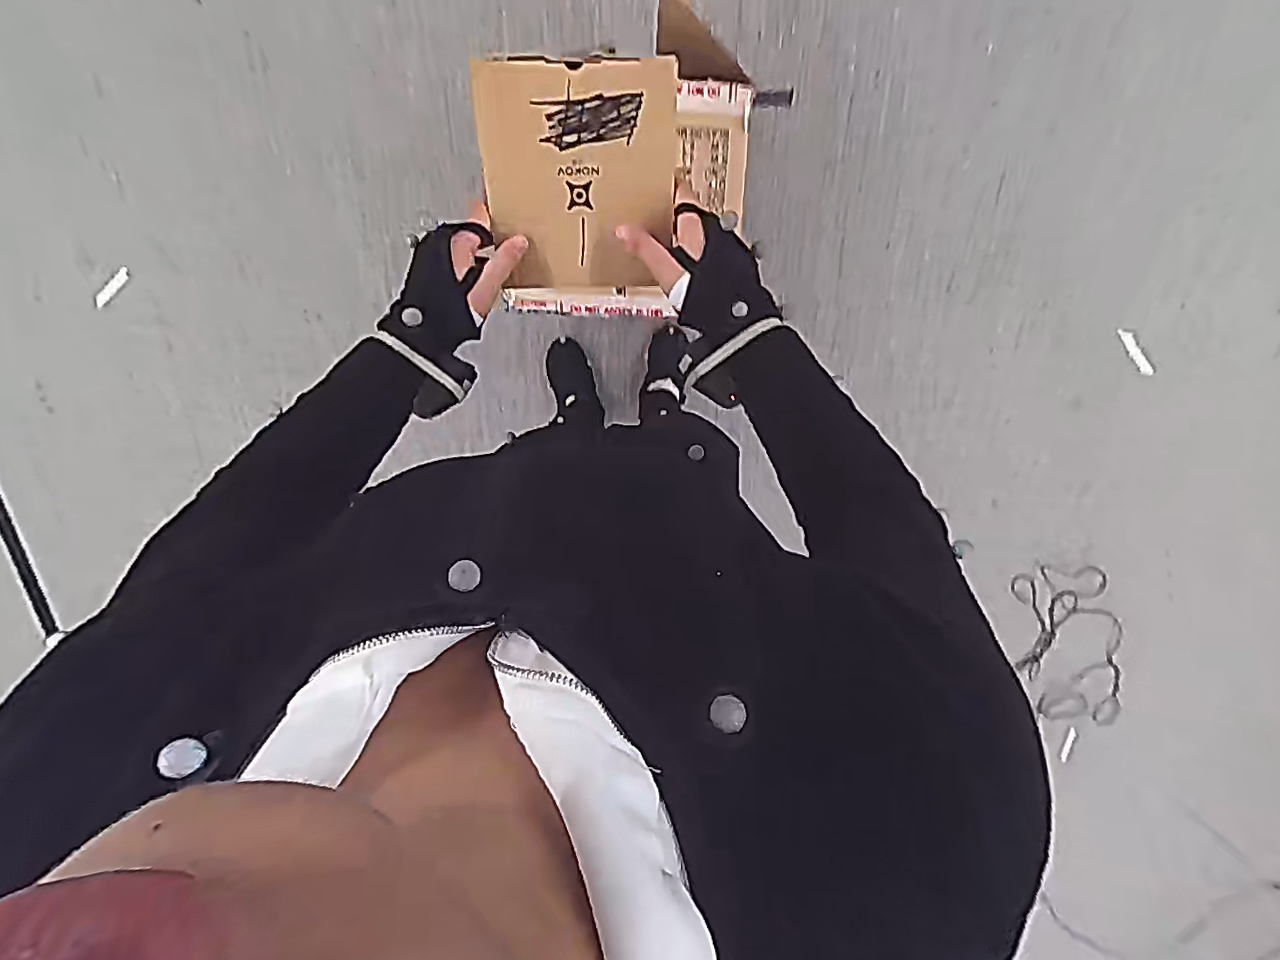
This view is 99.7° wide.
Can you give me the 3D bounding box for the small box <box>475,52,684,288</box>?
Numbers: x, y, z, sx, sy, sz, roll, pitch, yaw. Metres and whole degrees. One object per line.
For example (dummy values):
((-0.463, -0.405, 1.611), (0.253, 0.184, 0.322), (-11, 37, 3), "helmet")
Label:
((-0.052, -0.298, 0.530), (0.168, 0.176, 0.179), (0, 124, -2), "small box")
